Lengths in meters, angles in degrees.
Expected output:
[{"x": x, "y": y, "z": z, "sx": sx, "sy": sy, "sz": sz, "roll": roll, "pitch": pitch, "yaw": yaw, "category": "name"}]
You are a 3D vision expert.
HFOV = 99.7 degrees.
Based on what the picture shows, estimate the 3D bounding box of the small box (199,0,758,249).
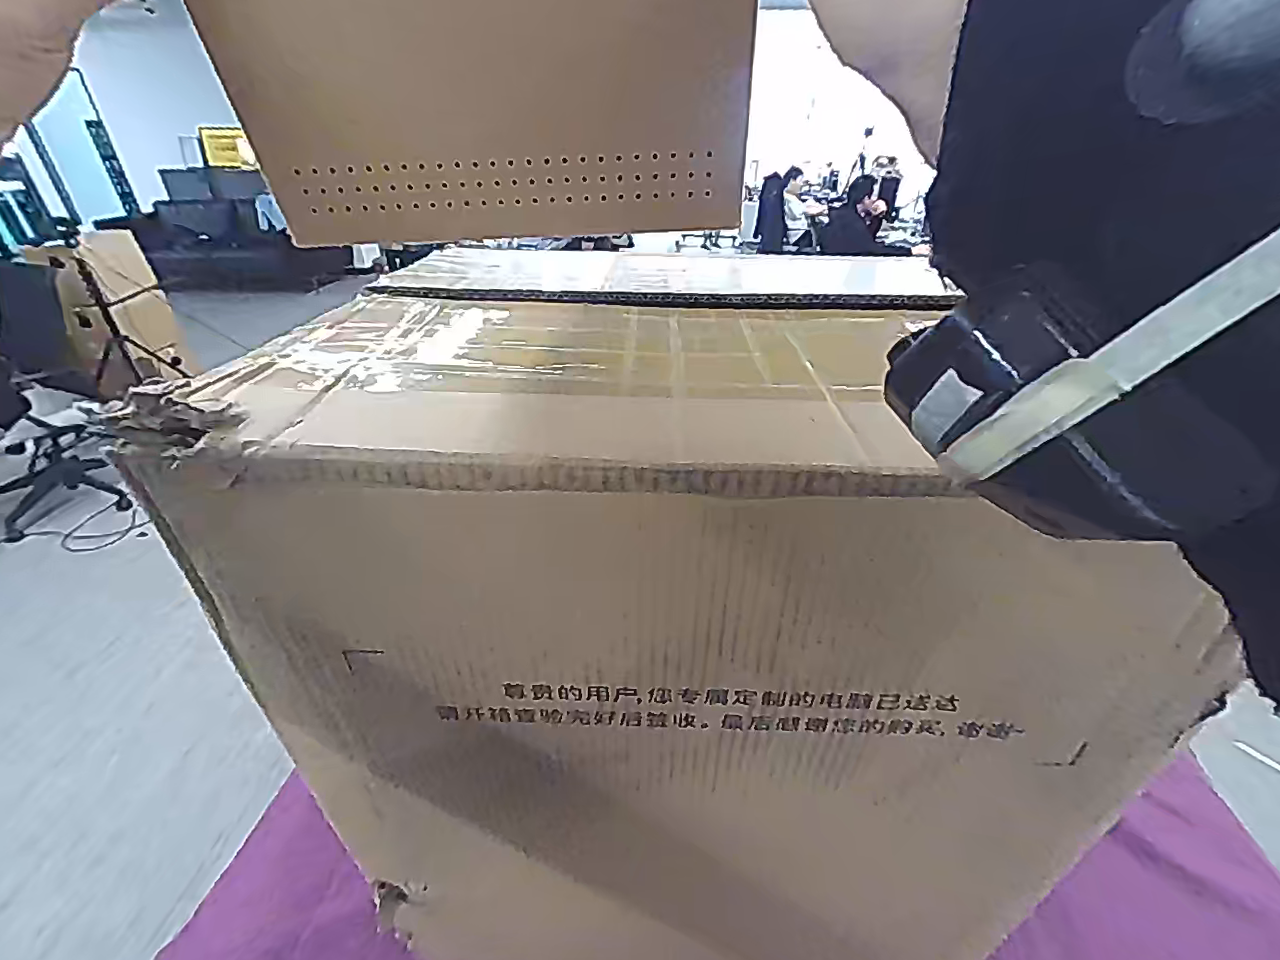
[{"x": -0.048, "y": -0.205, "z": 0.213, "sx": 0.179, "sy": 0.176, "sz": 0.168, "roll": -2, "pitch": 43, "yaw": 1, "category": "small box"}]
